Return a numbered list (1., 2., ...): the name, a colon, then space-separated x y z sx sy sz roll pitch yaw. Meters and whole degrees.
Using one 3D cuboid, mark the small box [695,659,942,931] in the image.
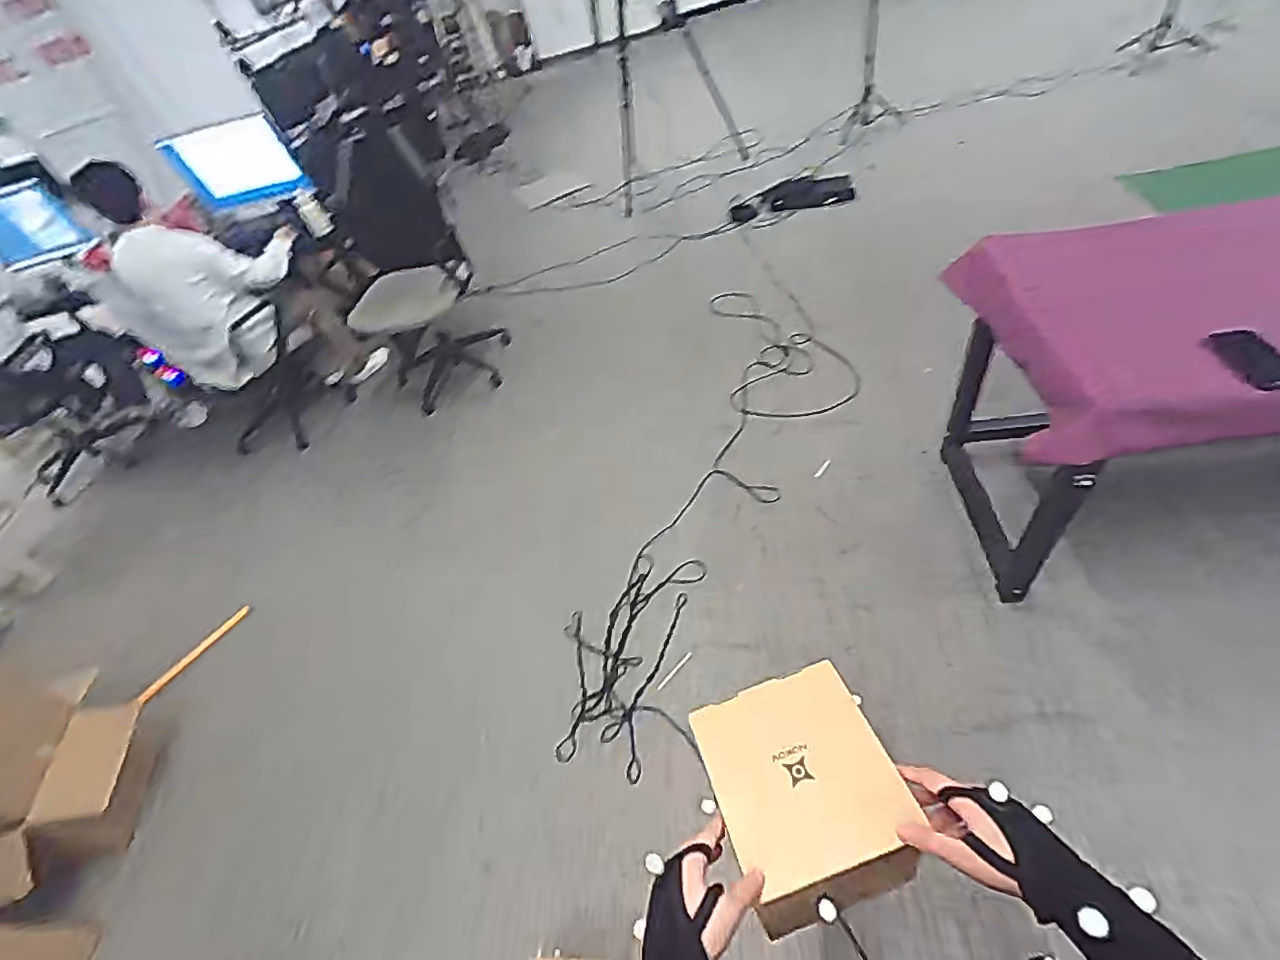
1. small box: 0.174 0.325 0.554 0.168 0.176 0.179 -20 39 -2
